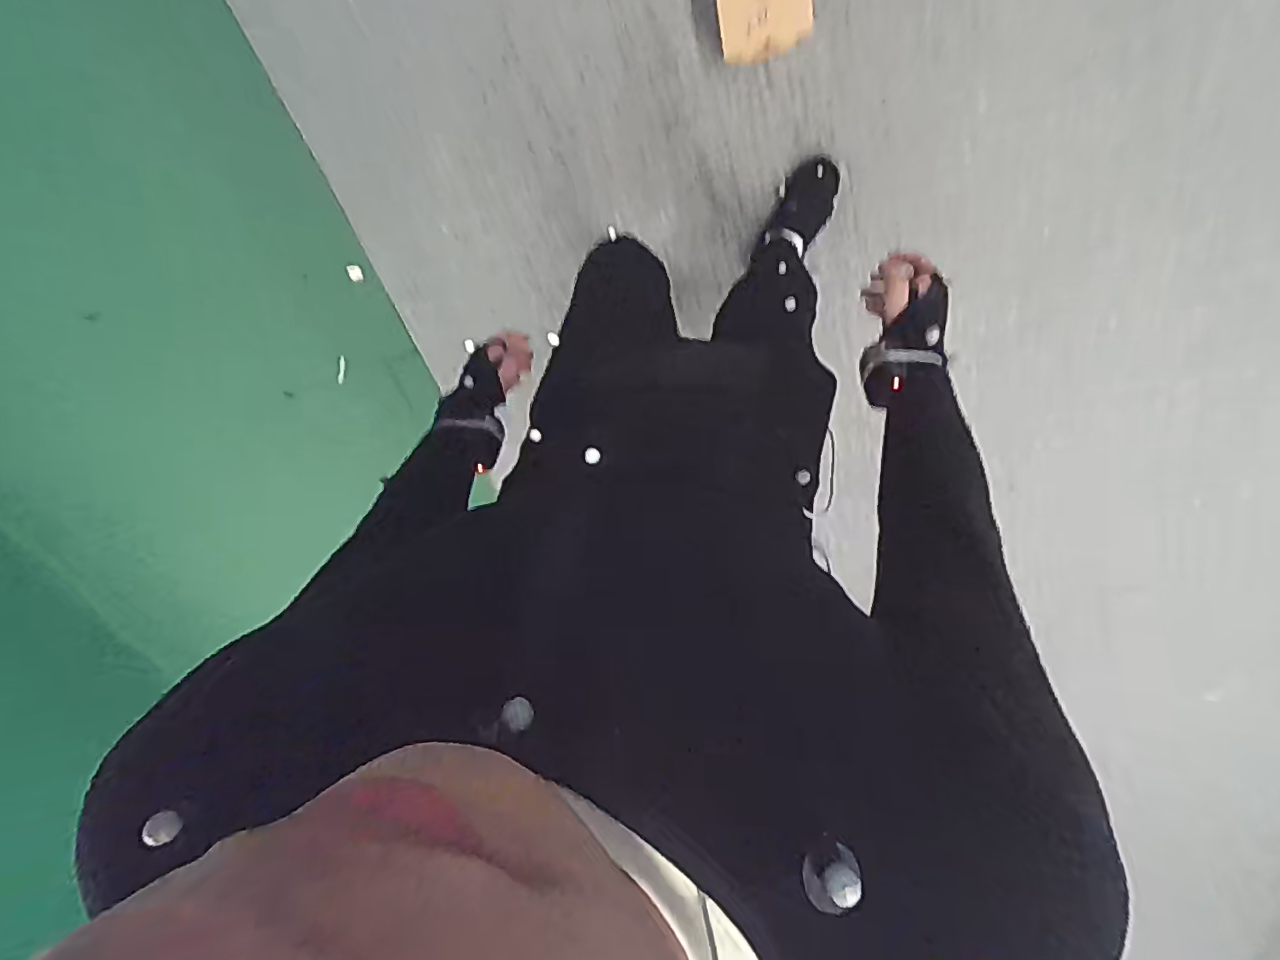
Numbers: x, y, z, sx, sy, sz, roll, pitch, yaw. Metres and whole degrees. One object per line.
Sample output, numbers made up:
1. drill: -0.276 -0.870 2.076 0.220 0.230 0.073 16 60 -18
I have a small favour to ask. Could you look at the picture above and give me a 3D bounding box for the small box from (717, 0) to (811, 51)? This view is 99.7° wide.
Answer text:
1. small box: 0.235 -0.930 1.011 0.168 0.176 0.179 3 126 17
